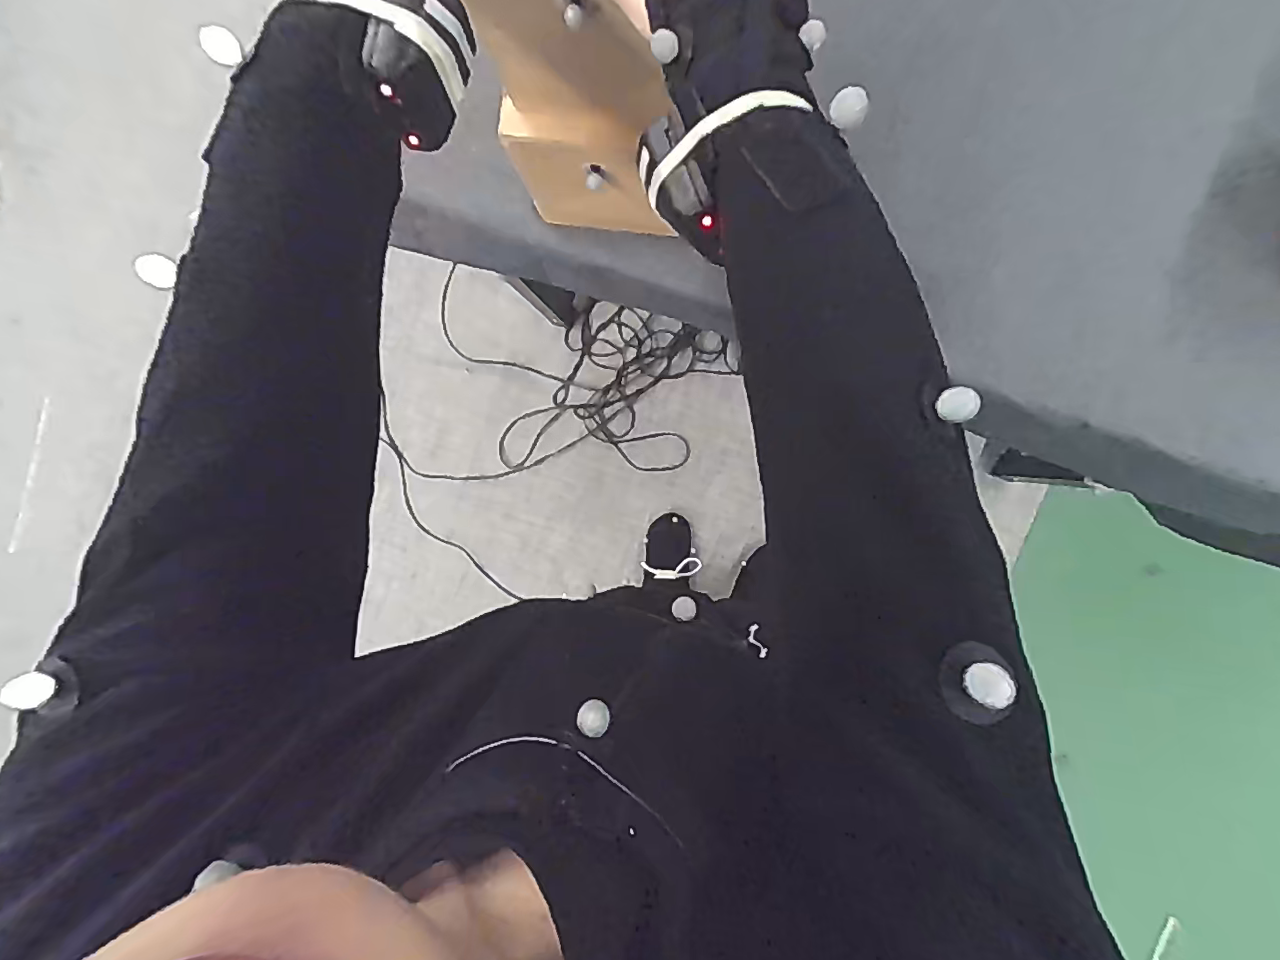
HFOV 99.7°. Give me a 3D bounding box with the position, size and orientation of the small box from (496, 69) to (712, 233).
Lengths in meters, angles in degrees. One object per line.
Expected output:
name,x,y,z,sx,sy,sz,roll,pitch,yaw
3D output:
small box,-0.017,-0.357,0.519,0.179,0.176,0.168,9,93,4

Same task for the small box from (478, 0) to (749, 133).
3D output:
small box,-0.011,-0.367,0.357,0.179,0.176,0.168,13,95,2
